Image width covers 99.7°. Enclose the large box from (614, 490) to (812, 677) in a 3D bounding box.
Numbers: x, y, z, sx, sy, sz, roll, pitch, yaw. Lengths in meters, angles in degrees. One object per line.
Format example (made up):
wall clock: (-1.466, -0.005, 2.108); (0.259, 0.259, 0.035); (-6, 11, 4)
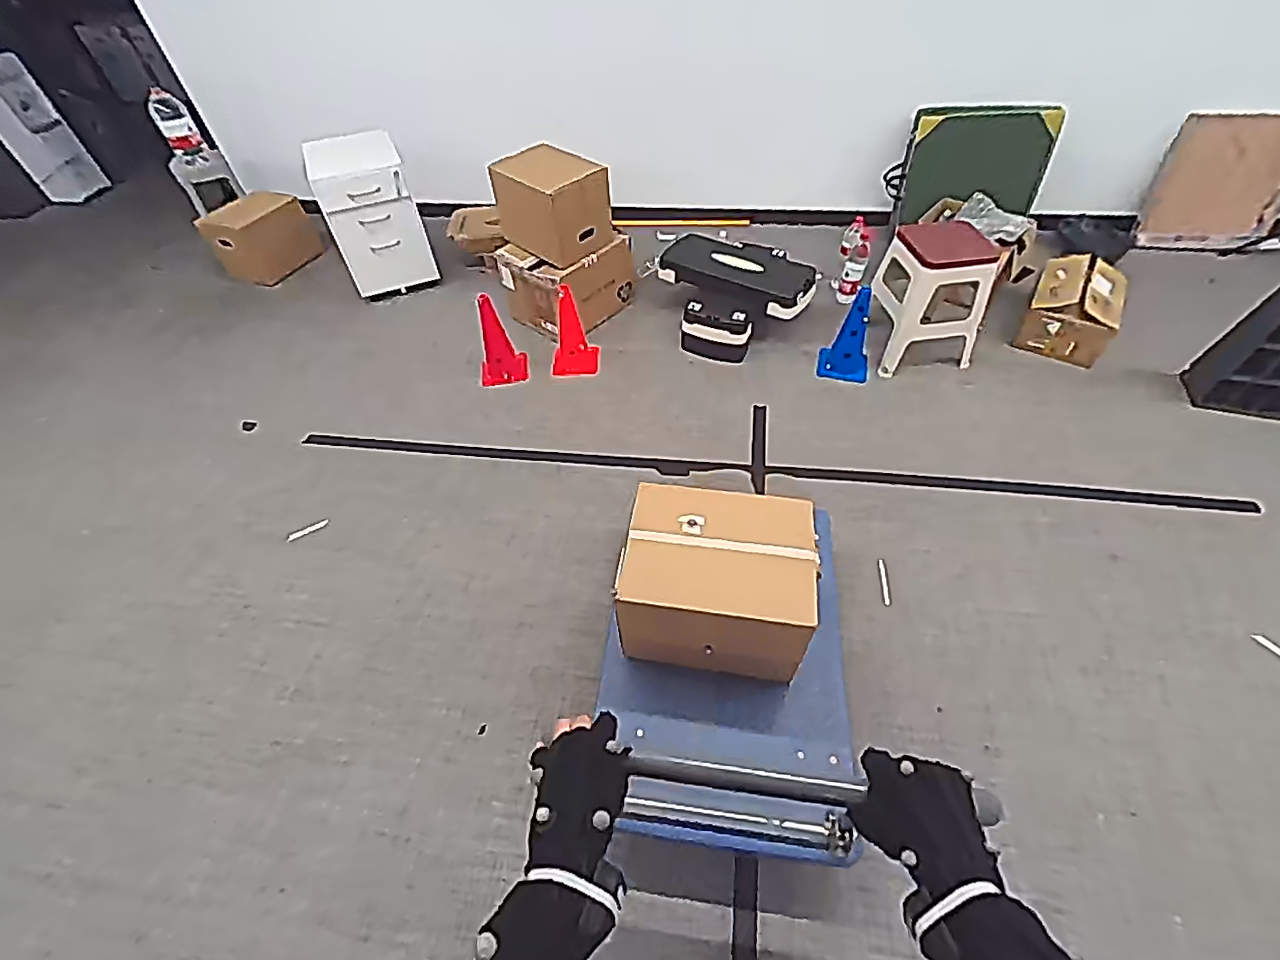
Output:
large box: (0.175, 0.250, 1.292); (0.408, 0.320, 0.320); (6, 51, 9)
